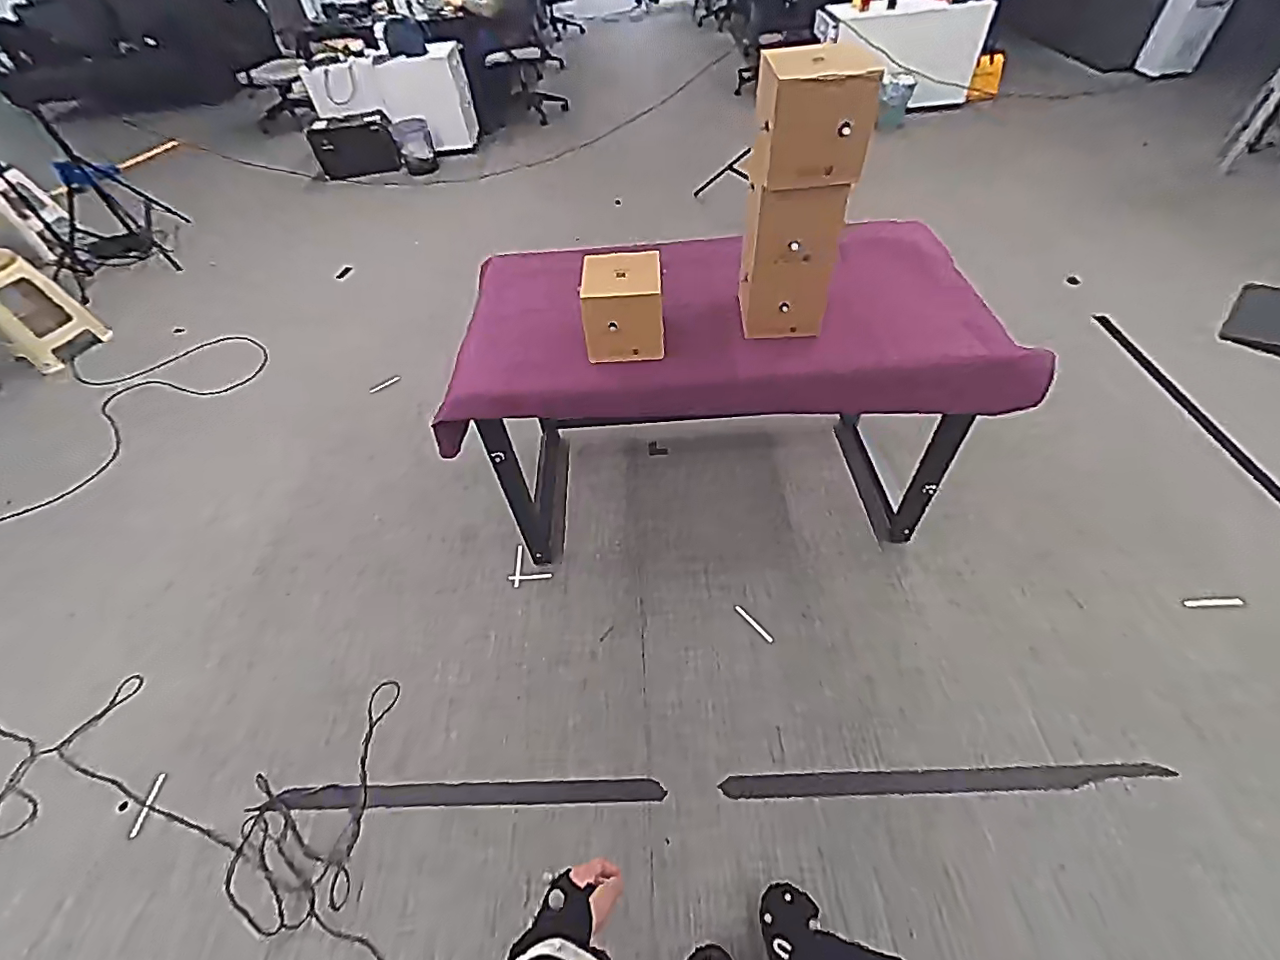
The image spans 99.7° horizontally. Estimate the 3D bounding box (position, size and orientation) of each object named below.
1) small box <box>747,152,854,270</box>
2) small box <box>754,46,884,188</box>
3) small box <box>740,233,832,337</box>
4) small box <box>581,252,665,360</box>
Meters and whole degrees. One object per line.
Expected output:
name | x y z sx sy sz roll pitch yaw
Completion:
small box | 0.310 -0.543 1.087 0.168 0.176 0.179 -2 51 4
small box | 0.301 -0.630 0.949 0.168 0.176 0.179 -3 50 1
small box | 0.319 -0.435 1.210 0.168 0.176 0.179 -1 50 4
small box | -0.032 -0.377 1.195 0.168 0.176 0.179 -3 49 3
